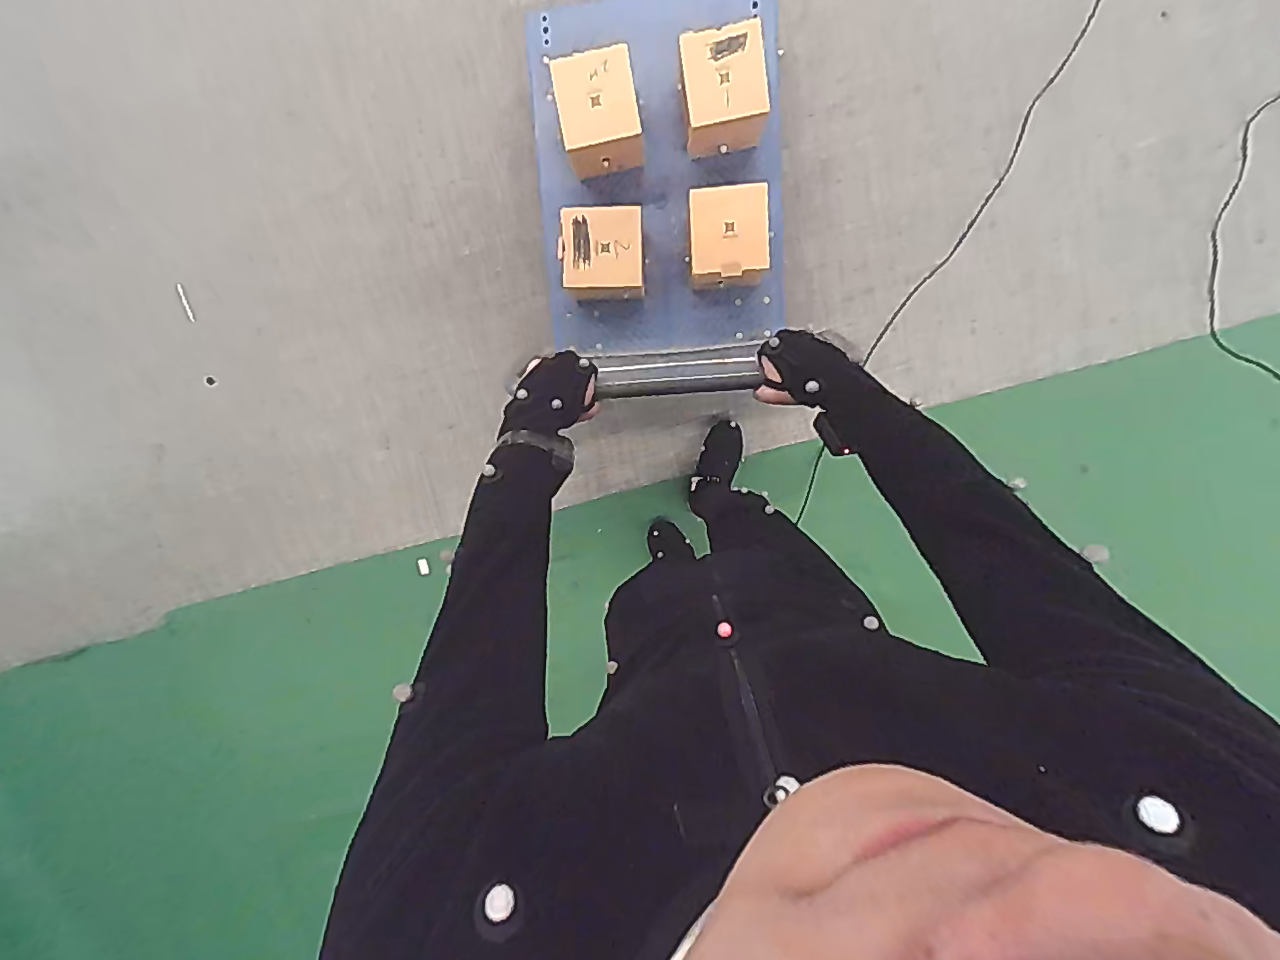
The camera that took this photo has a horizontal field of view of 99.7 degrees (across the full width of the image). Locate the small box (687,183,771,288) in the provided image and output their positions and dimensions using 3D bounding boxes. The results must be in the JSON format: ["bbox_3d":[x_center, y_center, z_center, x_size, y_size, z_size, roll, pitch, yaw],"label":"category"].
[{"bbox_3d":[0.196,-0.545,1.223,0.168,0.176,0.179,-4,100,3],"label":"small box"}]

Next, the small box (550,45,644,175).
[{"bbox_3d":[-0.086,-0.800,1.193,0.168,0.176,0.179,-10,99,4],"label":"small box"}]

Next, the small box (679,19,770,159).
[{"bbox_3d":[0.177,-0.836,1.172,0.168,0.176,0.179,-9,100,5],"label":"small box"}]
